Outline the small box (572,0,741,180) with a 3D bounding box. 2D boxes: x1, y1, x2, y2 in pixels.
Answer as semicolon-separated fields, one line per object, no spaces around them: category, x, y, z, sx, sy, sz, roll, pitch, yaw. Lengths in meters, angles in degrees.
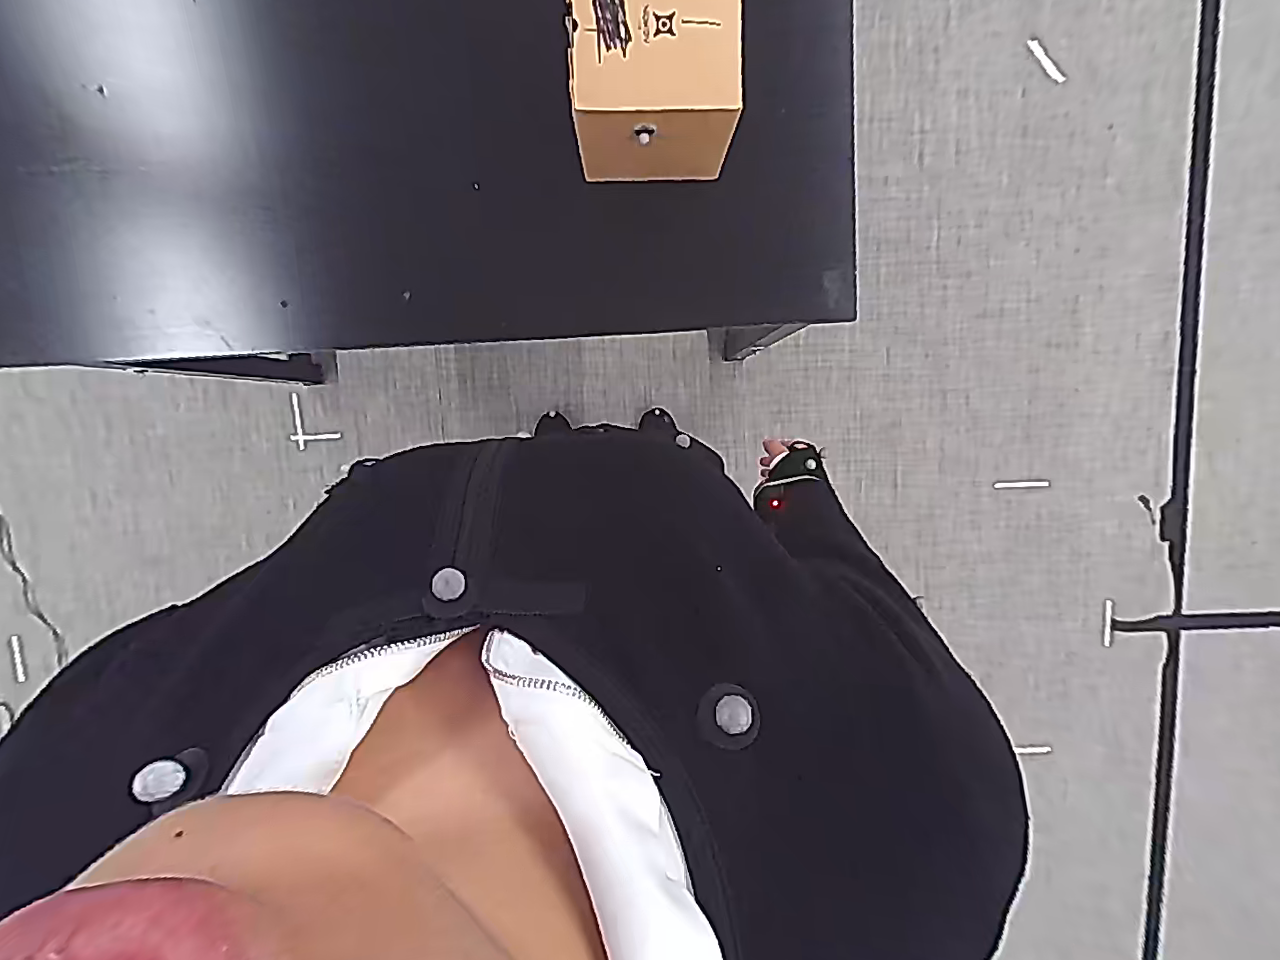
small box;0.017;-0.472;0.635;0.179;0.176;0.168;-1;97;-1
